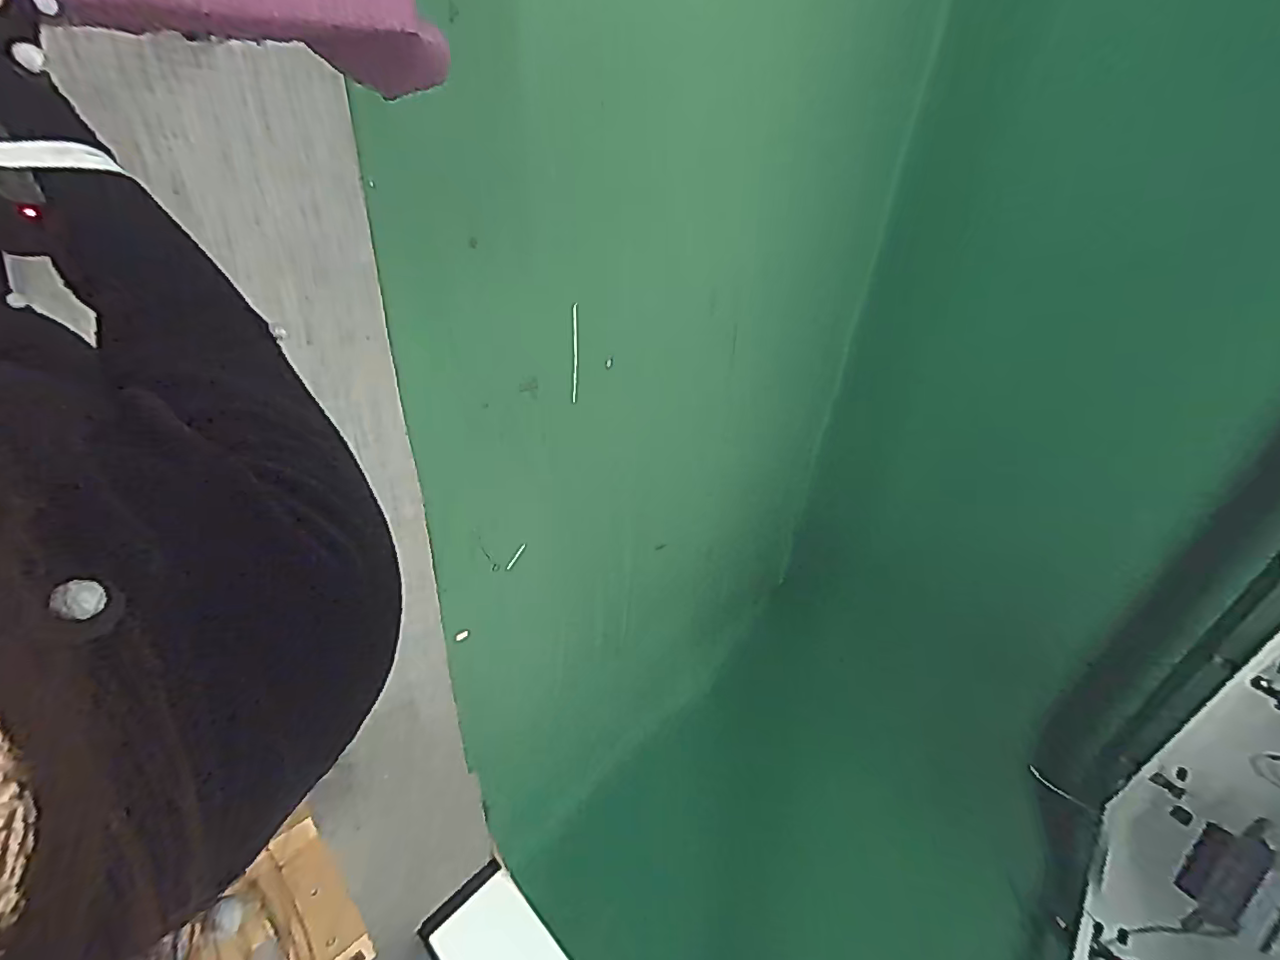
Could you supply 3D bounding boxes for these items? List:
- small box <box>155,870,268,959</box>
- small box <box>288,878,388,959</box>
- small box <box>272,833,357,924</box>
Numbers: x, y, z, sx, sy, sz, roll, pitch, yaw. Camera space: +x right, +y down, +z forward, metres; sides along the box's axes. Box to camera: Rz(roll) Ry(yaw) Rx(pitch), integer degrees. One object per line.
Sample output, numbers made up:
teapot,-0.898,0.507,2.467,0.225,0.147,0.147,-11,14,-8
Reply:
small box,-1.088,1.155,1.370,0.179,0.176,0.168,-27,135,-40
small box,-0.829,1.257,1.489,0.179,0.176,0.168,-27,135,-41
small box,-0.945,1.188,1.585,0.168,0.176,0.179,-26,135,-41
